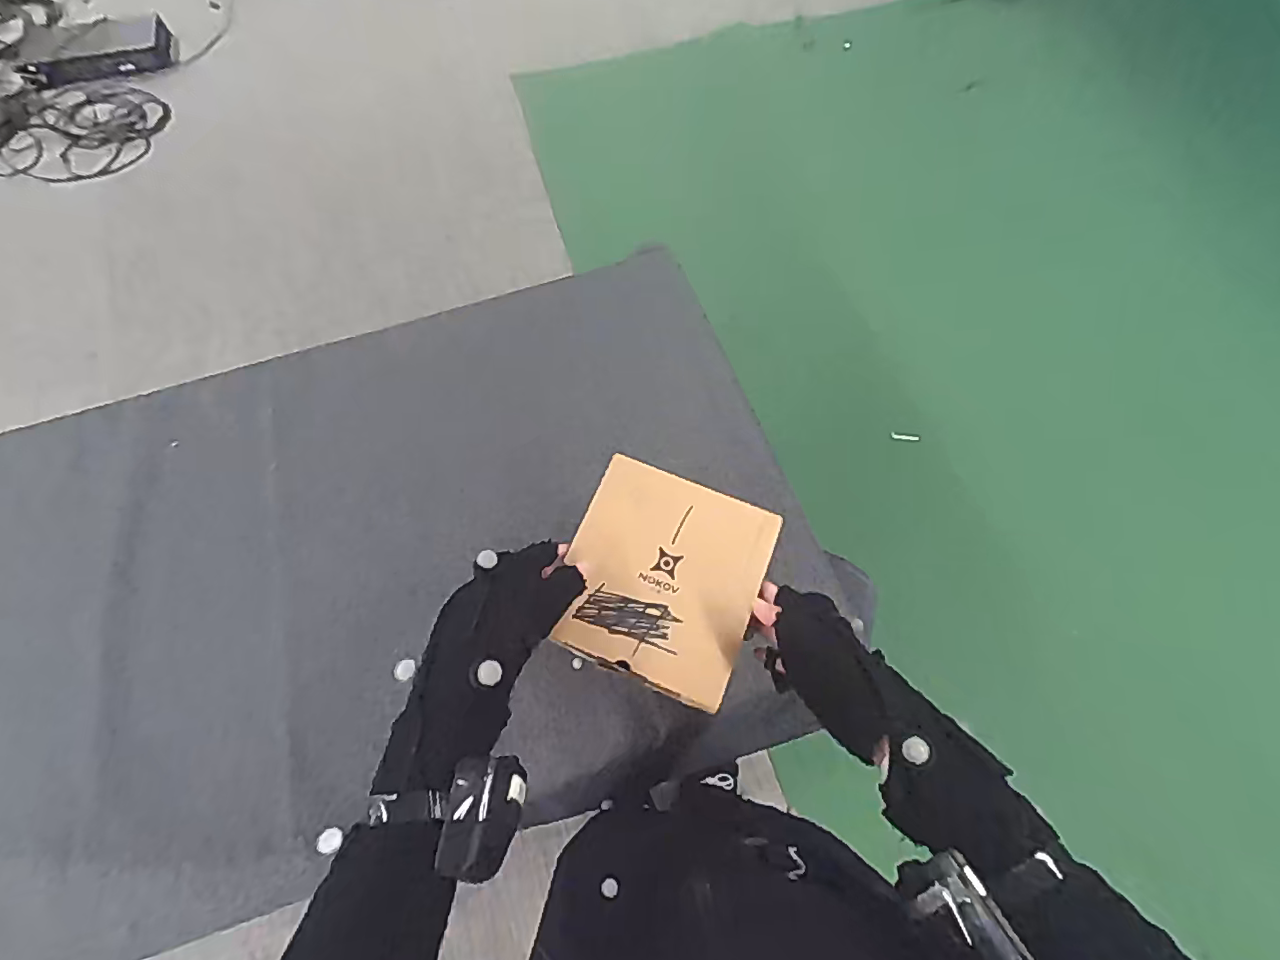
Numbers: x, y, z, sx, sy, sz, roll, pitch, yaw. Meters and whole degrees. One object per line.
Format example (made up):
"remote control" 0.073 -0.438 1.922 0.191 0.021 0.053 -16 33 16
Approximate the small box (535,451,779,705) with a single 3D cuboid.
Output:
"small box" 0.019 0.104 0.536 0.168 0.176 0.179 20 70 7
